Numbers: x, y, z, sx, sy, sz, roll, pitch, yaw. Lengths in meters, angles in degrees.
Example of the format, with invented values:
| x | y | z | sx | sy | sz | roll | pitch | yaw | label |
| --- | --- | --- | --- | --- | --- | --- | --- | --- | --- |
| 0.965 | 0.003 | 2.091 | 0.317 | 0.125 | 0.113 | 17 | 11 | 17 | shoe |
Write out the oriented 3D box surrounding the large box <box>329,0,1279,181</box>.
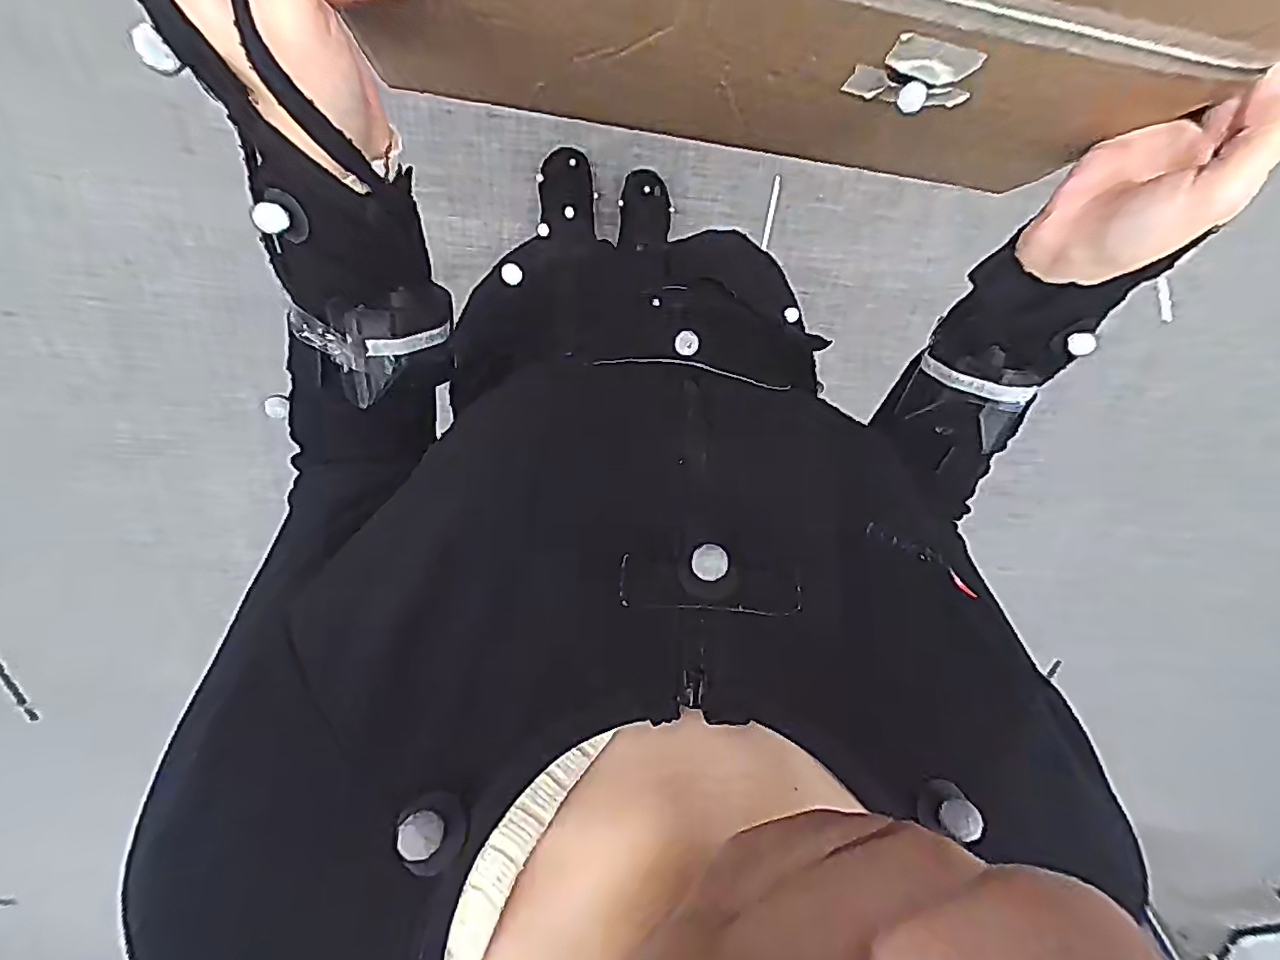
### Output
| x | y | z | sx | sy | sz | roll | pitch | yaw | label |
| --- | --- | --- | --- | --- | --- | --- | --- | --- | --- |
| 0.075 | -0.341 | 0.176 | 0.408 | 0.320 | 0.320 | 4 | 101 | -8 | large box |
